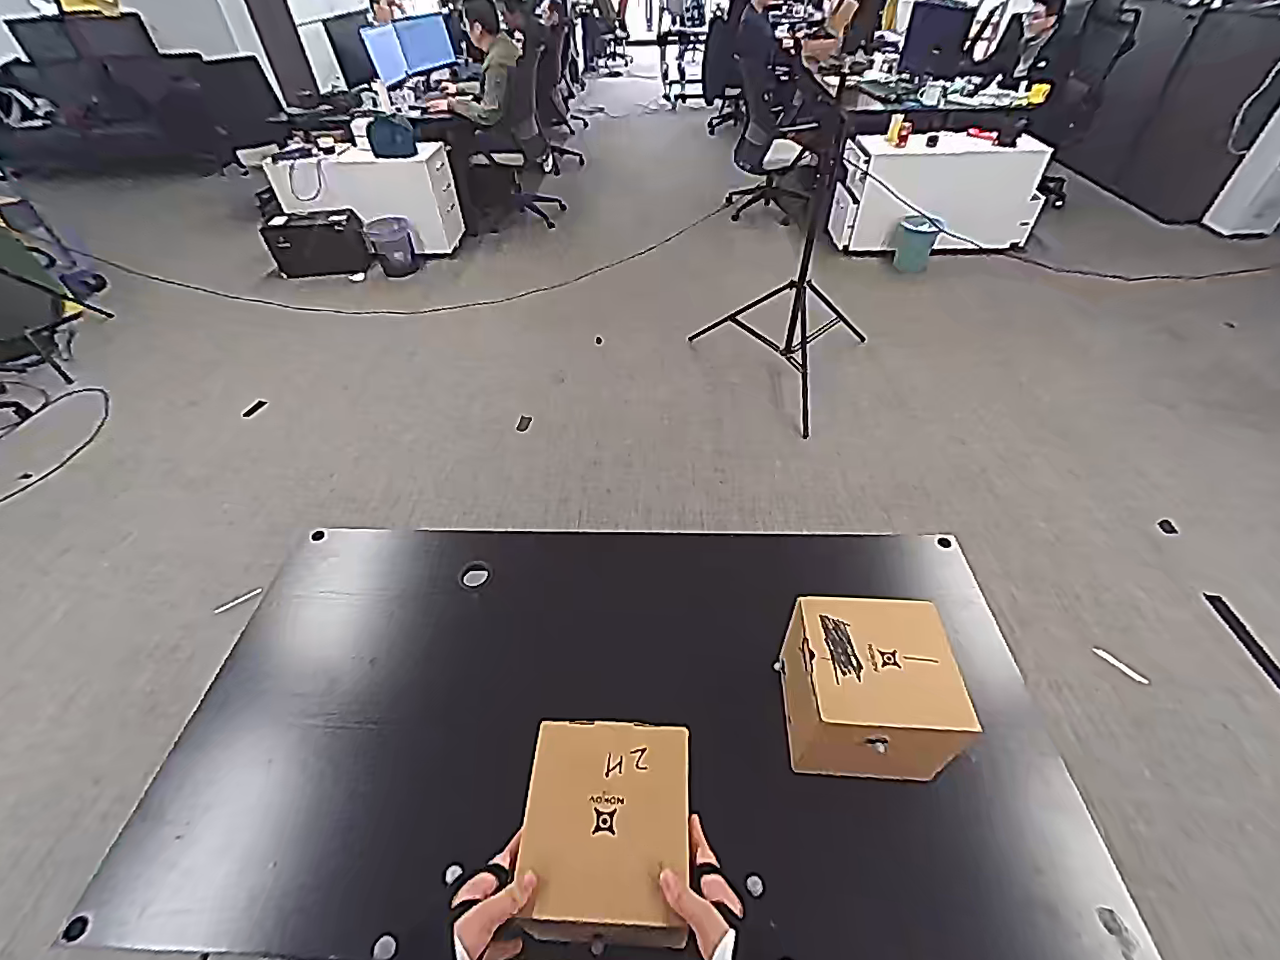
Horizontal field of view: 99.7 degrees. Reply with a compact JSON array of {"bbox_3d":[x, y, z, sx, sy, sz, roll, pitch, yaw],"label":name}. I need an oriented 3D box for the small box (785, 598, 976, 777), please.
[{"bbox_3d":[0.294,0.274,0.713,0.179,0.176,0.168,2,45,4],"label":"small box"}]

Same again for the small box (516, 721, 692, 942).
[{"bbox_3d":[-0.026,0.394,0.606,0.168,0.176,0.179,1,45,3],"label":"small box"}]
